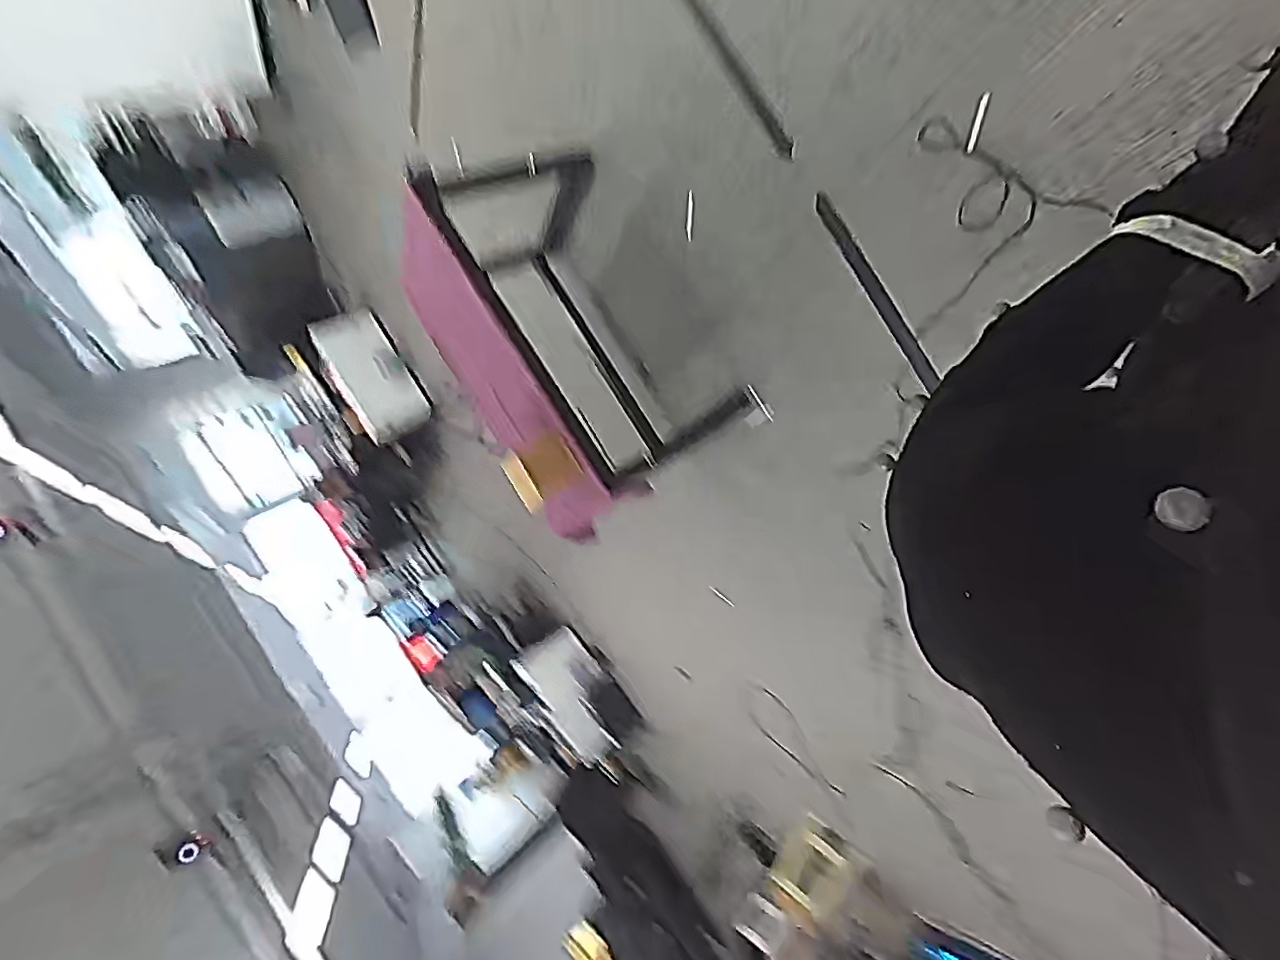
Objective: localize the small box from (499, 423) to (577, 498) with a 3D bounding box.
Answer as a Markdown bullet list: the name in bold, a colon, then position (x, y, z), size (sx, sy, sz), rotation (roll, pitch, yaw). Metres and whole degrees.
- **small box**: position (-0.331, -0.062, 1.767), size (0.168, 0.176, 0.179), rotation (59, 149, -2)
